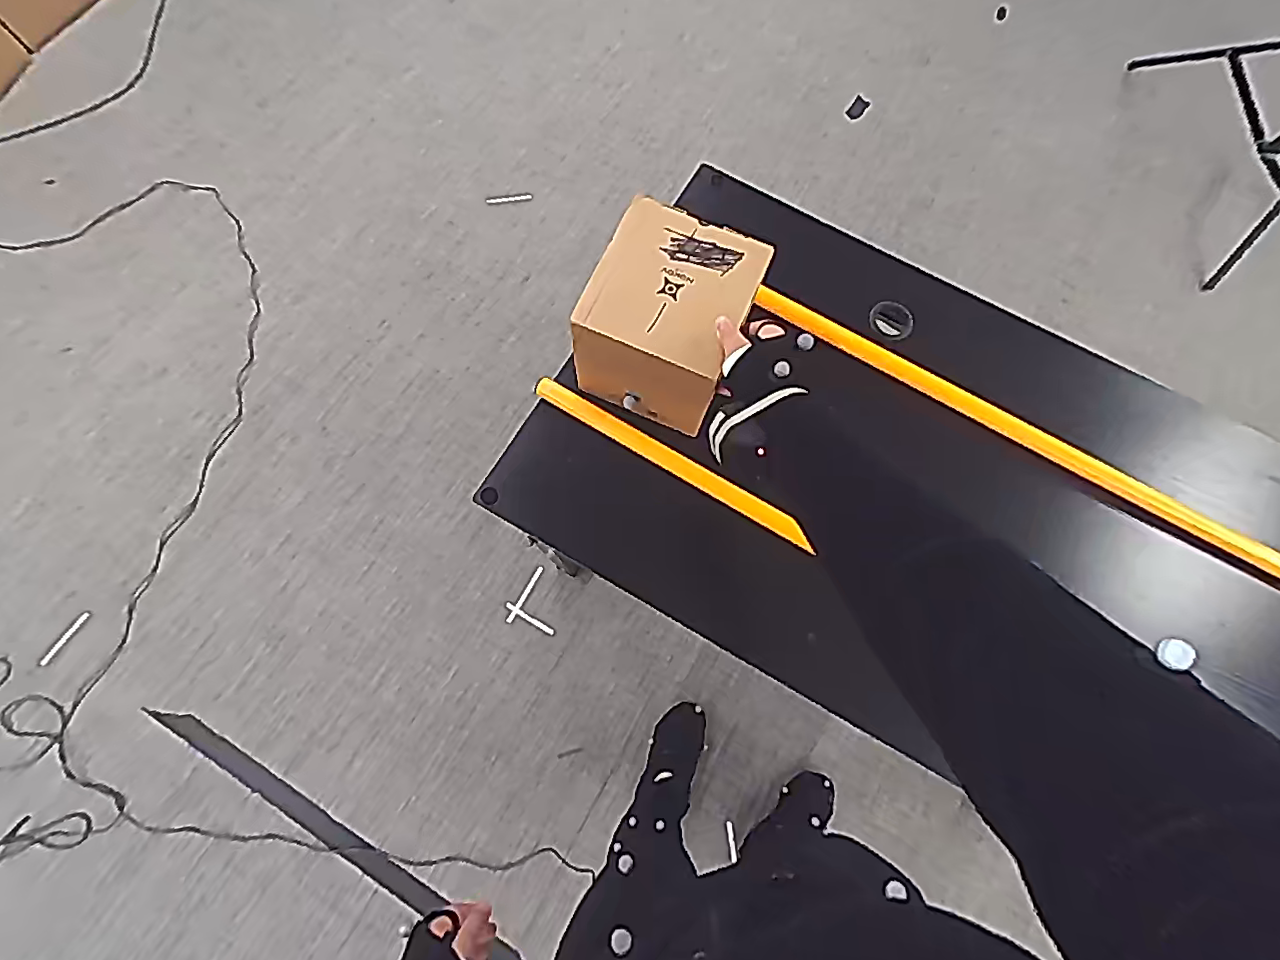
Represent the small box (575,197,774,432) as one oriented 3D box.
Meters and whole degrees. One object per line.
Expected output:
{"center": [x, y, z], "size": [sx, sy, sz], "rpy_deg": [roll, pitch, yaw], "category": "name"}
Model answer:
{"center": [0.035, -0.185, 0.646], "size": [0.168, 0.176, 0.179], "rpy_deg": [24, 76, 5], "category": "small box"}
